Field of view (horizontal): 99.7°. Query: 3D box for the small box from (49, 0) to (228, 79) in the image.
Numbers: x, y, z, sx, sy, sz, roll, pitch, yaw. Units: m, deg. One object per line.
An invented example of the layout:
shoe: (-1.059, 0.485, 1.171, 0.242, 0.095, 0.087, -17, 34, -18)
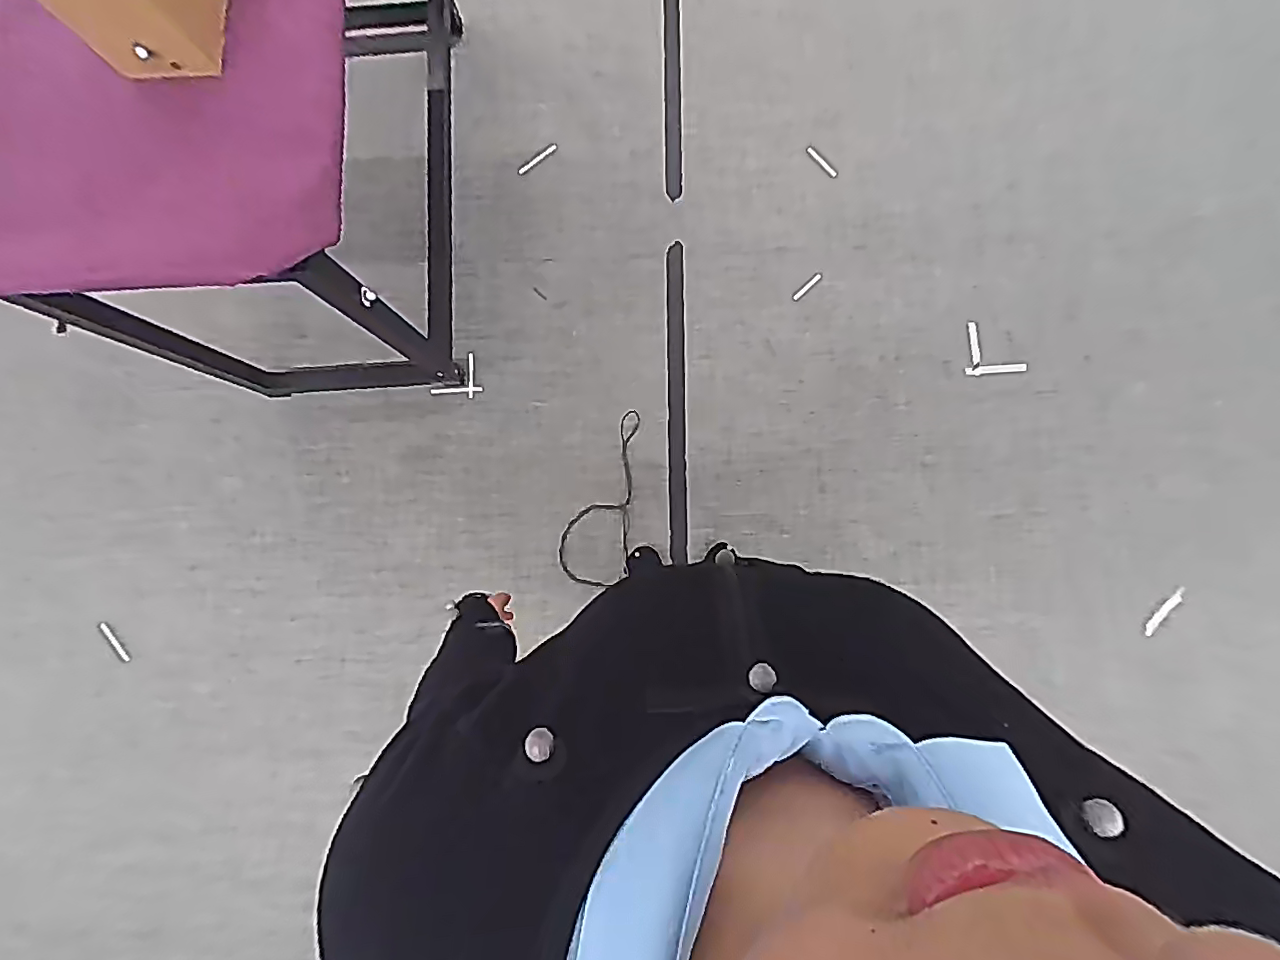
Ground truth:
small box: (-0.774, -0.761, 0.826, 0.168, 0.176, 0.179, -1, 84, 2)
